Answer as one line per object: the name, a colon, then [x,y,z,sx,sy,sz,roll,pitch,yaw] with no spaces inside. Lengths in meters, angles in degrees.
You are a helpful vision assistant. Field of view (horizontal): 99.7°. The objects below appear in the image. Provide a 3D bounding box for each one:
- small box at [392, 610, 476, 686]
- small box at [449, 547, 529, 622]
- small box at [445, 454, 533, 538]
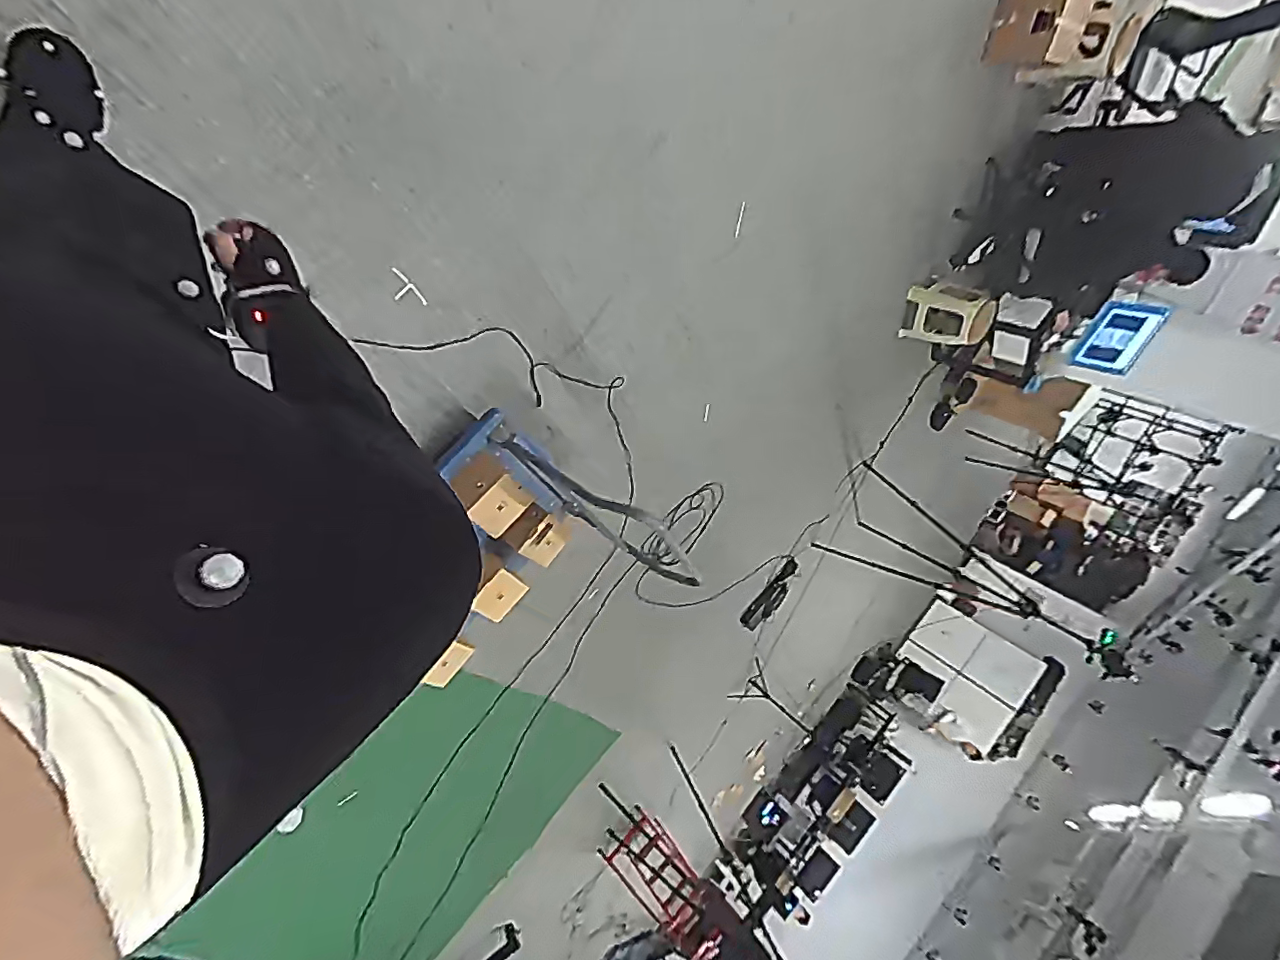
small box: [-0.708,0.575,1.859,0.168,0.176,0.179,-50,141,-10]
small box: [-0.531,0.363,1.902,0.168,0.176,0.179,-49,140,-9]
small box: [-0.482,0.046,1.725,0.179,0.176,0.168,-47,141,-11]
